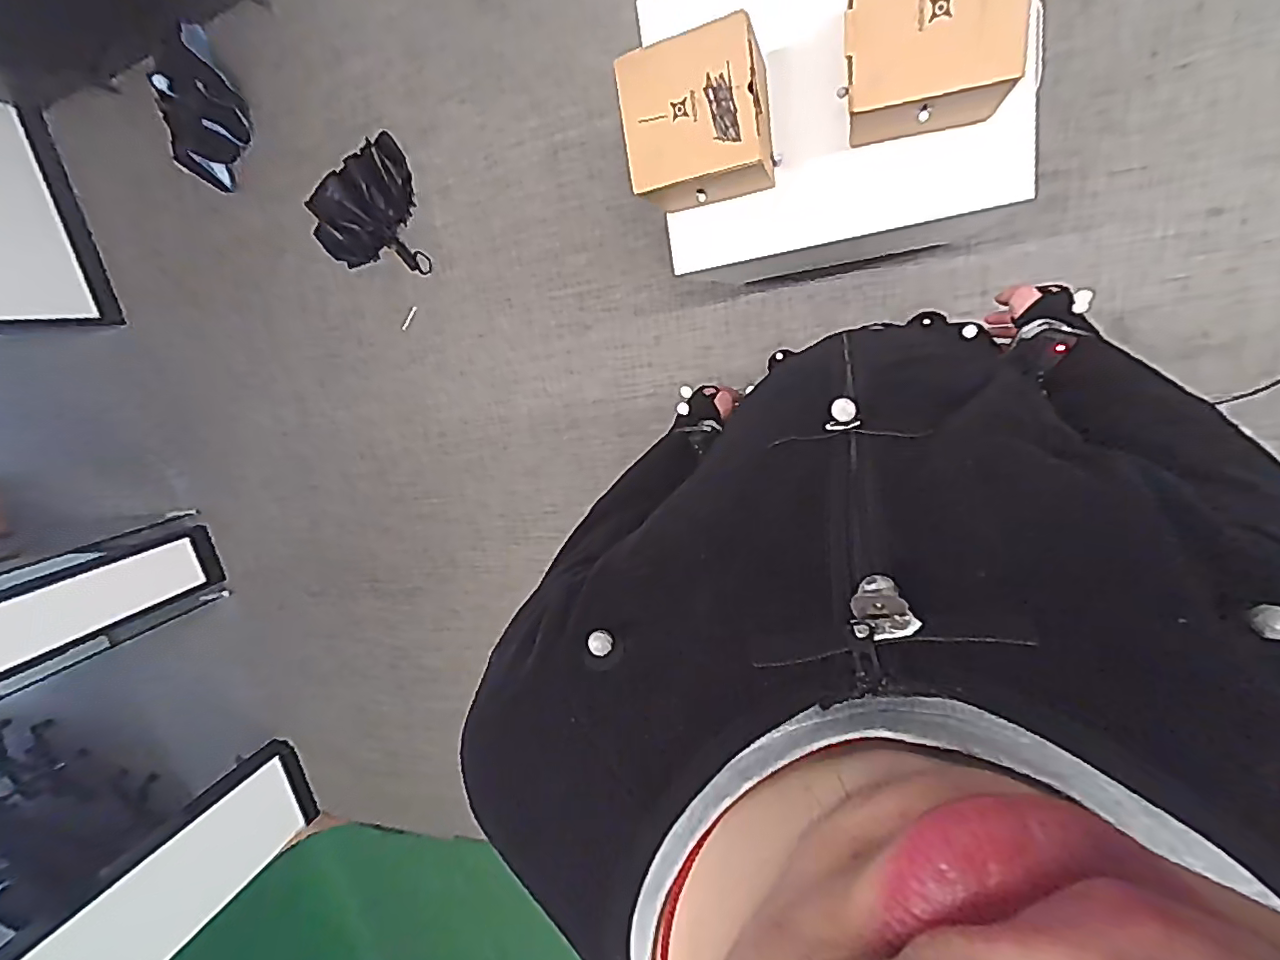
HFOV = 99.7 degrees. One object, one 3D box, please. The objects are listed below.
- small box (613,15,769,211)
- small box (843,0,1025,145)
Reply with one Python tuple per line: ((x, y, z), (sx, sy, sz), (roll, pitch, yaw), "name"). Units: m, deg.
((0.083, -0.494, 0.760), (0.179, 0.176, 0.168), (-3, 105, 22), "small box")
((0.342, -0.528, 0.653), (0.179, 0.176, 0.168), (0, 109, 20), "small box")
